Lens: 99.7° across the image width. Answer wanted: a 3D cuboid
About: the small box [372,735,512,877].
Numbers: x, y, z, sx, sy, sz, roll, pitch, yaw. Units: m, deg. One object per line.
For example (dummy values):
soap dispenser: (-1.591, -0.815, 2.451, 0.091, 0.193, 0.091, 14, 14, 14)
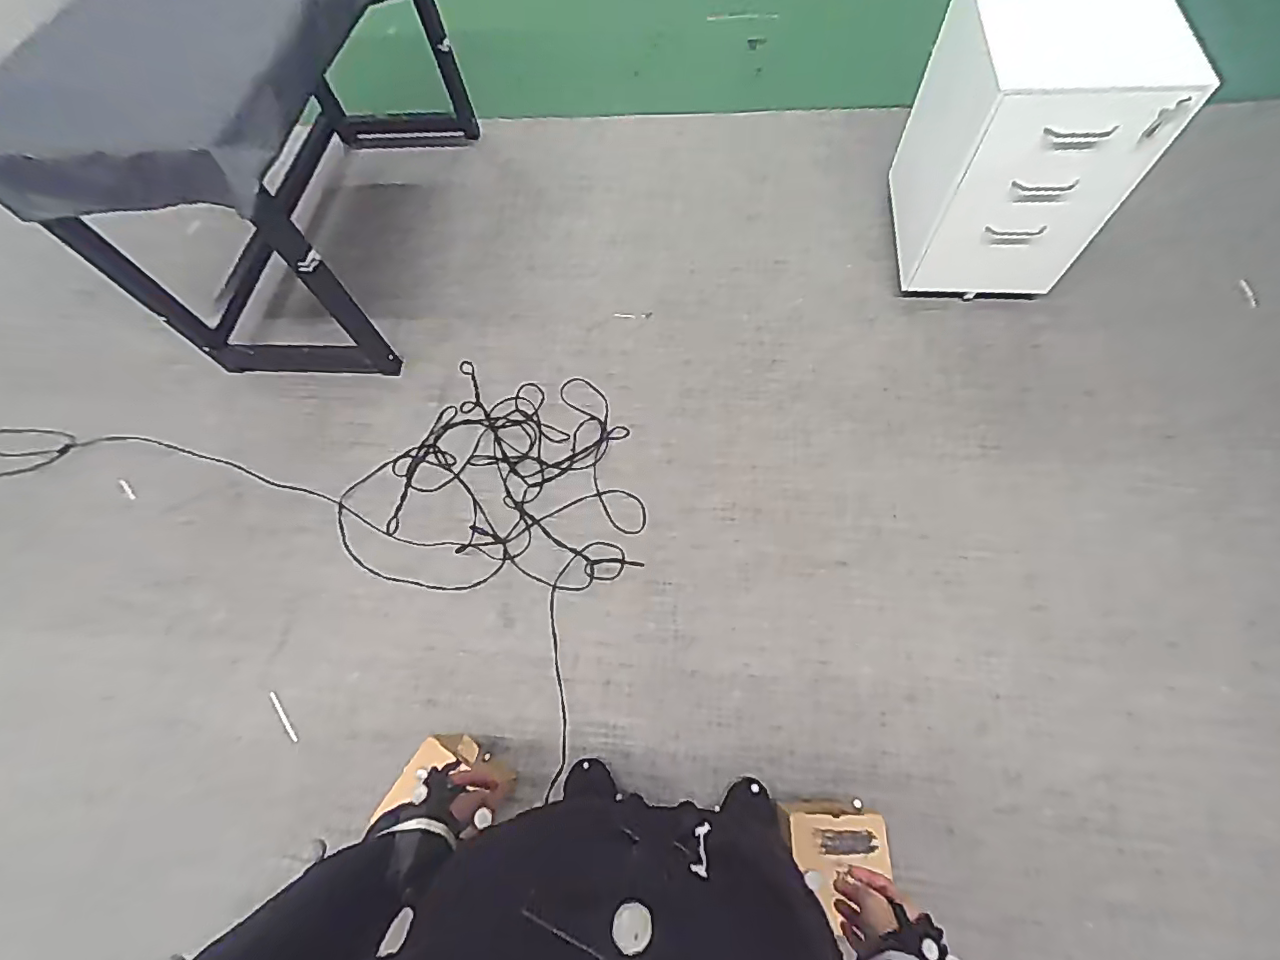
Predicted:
small box: (-0.383, 0.640, 1.085, 0.168, 0.176, 0.179, 27, 70, 16)
